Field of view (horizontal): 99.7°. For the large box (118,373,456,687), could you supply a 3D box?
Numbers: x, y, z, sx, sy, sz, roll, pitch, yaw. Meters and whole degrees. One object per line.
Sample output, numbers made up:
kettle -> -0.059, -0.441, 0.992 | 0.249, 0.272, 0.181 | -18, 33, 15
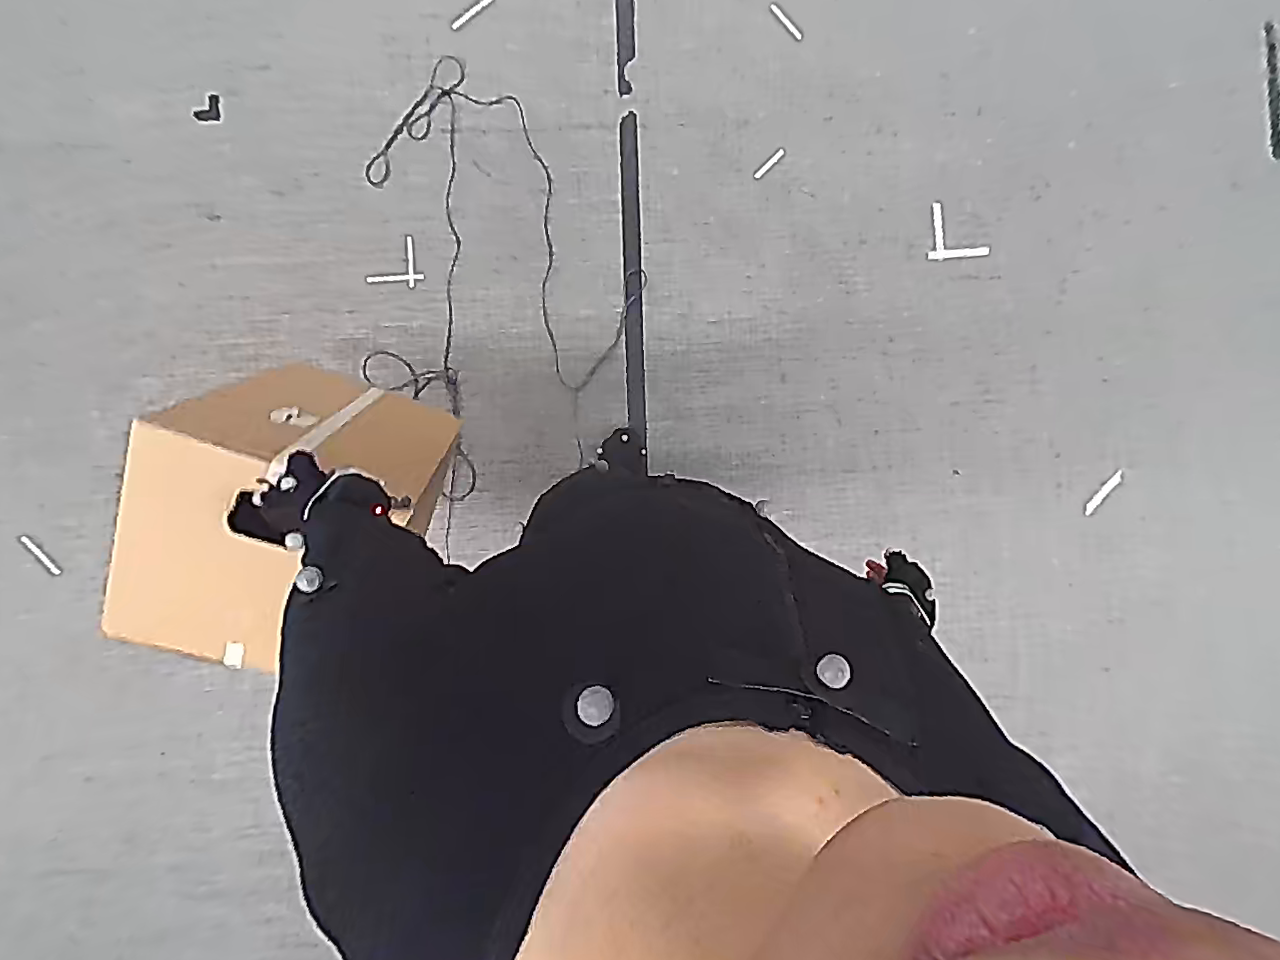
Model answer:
large box -> -0.528, 0.057, 0.889 | 0.320, 0.408, 0.320 | 18, 108, -14
